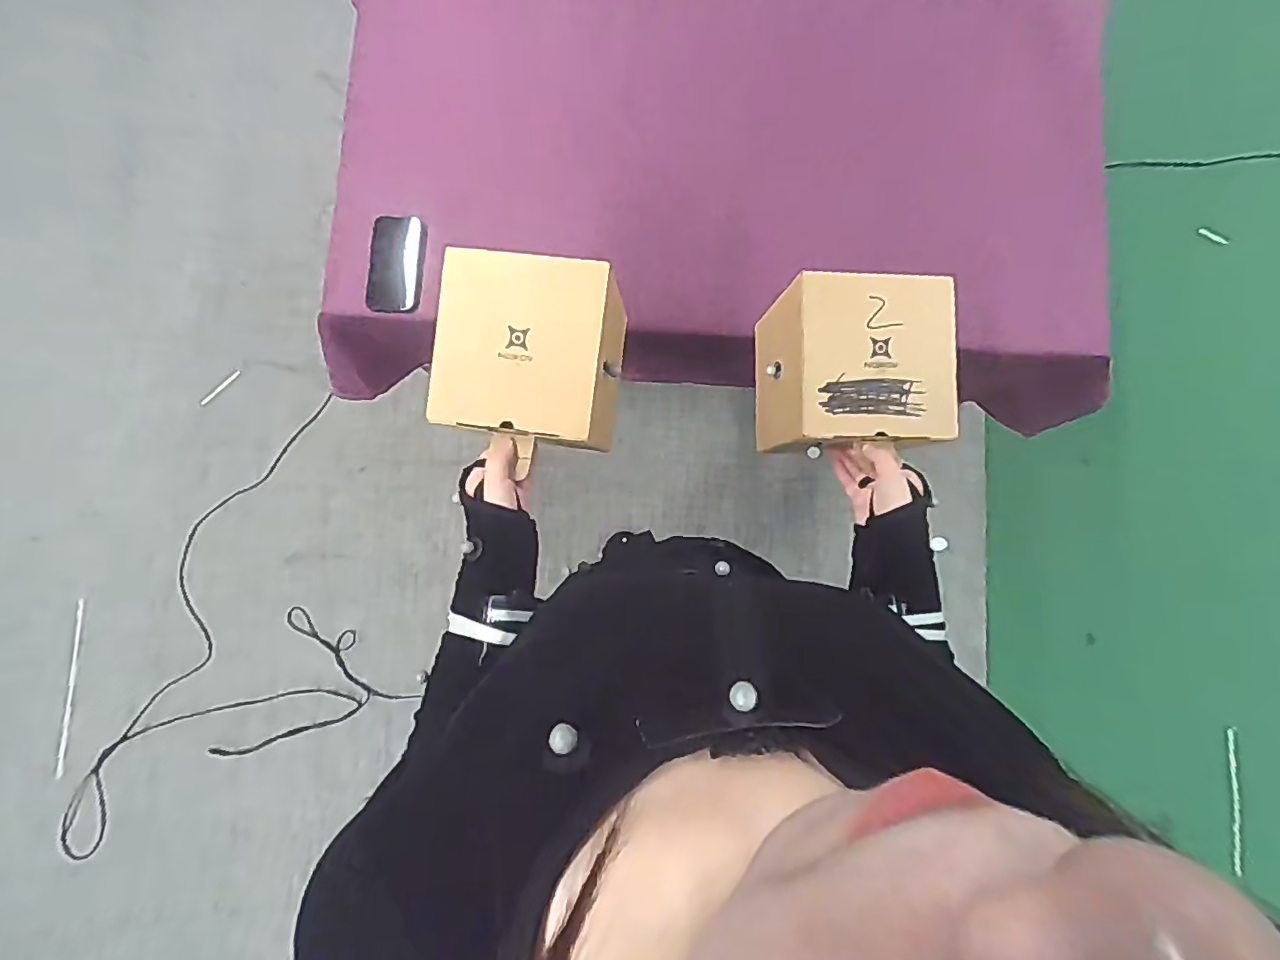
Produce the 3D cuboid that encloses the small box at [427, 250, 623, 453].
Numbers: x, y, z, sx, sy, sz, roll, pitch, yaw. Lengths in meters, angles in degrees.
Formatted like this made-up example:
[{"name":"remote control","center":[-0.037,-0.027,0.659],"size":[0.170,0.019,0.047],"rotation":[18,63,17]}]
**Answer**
[{"name":"small box","center":[-0.114,-0.129,0.604],"size":[0.168,0.176,0.179],"rotation":[8,91,3]}]
